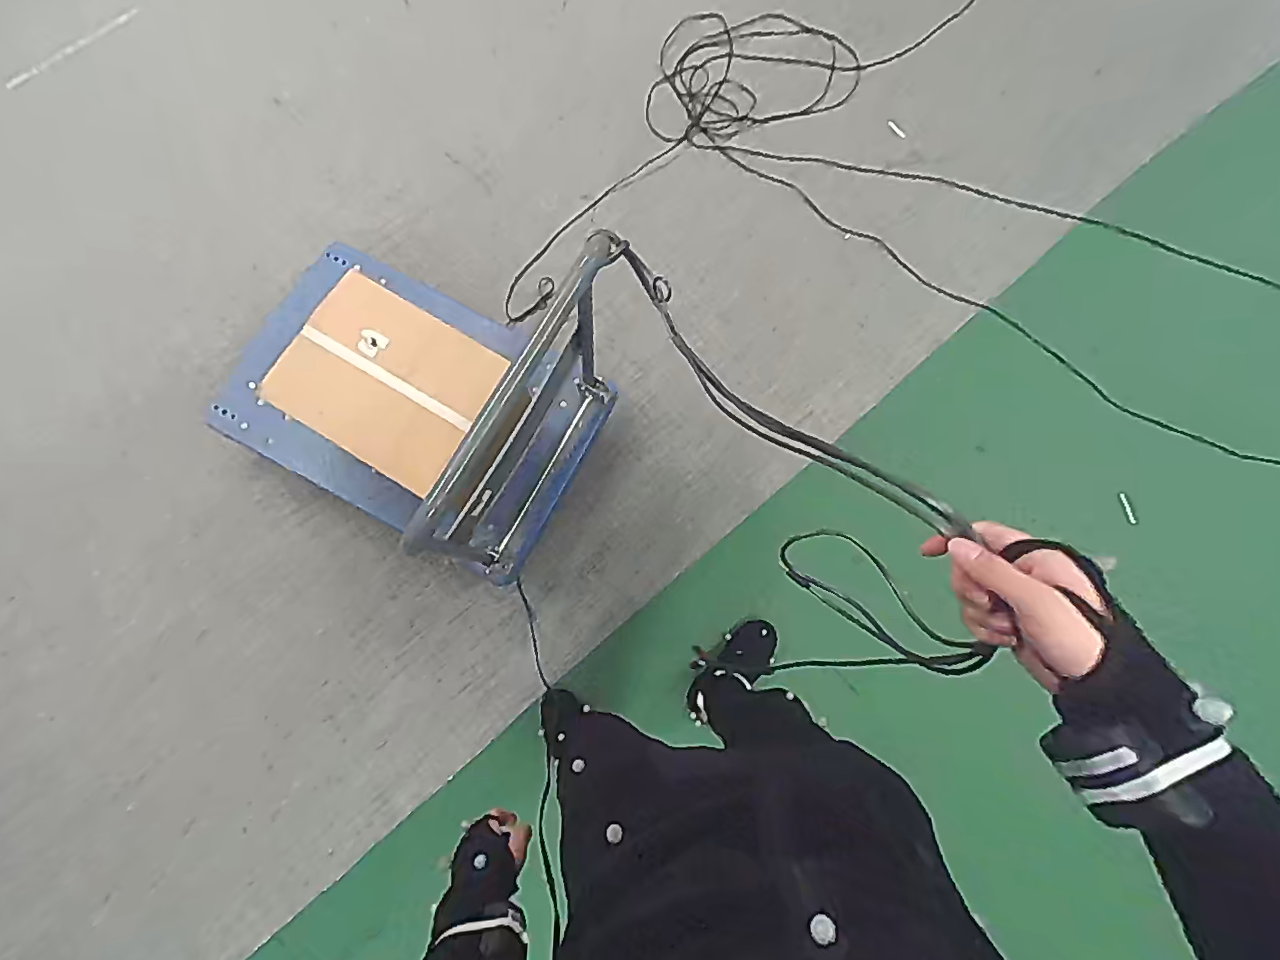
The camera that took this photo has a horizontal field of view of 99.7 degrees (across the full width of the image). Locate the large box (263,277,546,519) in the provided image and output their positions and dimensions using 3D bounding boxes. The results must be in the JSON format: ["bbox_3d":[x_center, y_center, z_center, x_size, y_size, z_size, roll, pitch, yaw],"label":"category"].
[{"bbox_3d":[-0.473,-0.154,1.181,0.408,0.320,0.320,30,79,6],"label":"large box"}]
